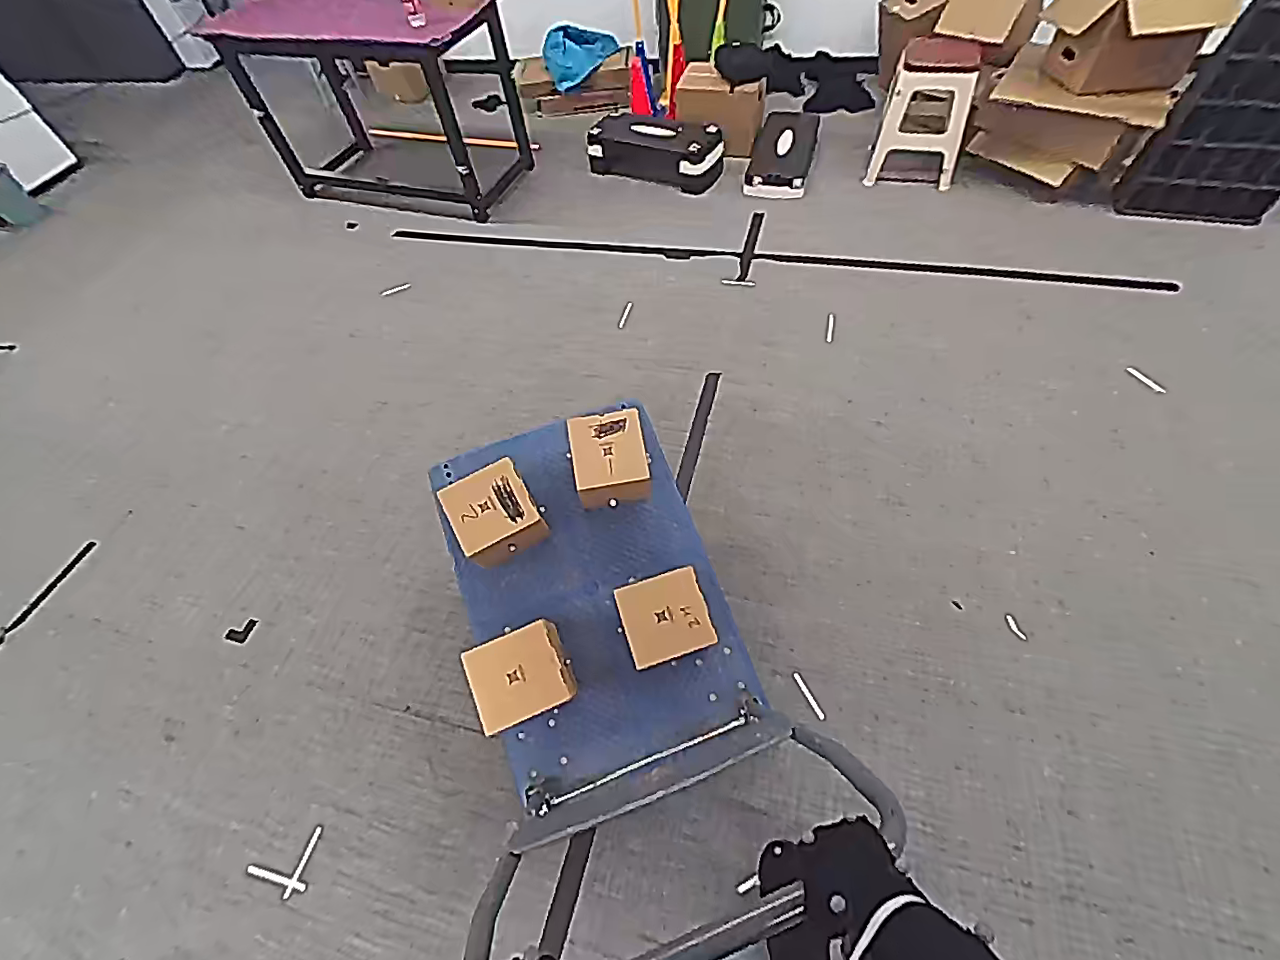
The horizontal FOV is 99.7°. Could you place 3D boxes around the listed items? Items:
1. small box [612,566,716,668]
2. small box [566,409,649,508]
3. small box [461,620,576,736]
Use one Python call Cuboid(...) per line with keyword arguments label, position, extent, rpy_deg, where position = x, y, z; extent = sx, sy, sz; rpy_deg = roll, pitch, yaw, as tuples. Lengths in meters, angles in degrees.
Cuboid(label="small box", position=(0.048, 0.301, 1.174), extent=(0.179, 0.176, 0.168), rpy_deg=(-17, 73, -7))
Cuboid(label="small box", position=(-0.078, -0.046, 1.286), extent=(0.168, 0.176, 0.179), rpy_deg=(-10, 74, -4))
Cuboid(label="small box", position=(-0.247, 0.411, 1.132), extent=(0.179, 0.176, 0.168), rpy_deg=(-22, 74, -10))
